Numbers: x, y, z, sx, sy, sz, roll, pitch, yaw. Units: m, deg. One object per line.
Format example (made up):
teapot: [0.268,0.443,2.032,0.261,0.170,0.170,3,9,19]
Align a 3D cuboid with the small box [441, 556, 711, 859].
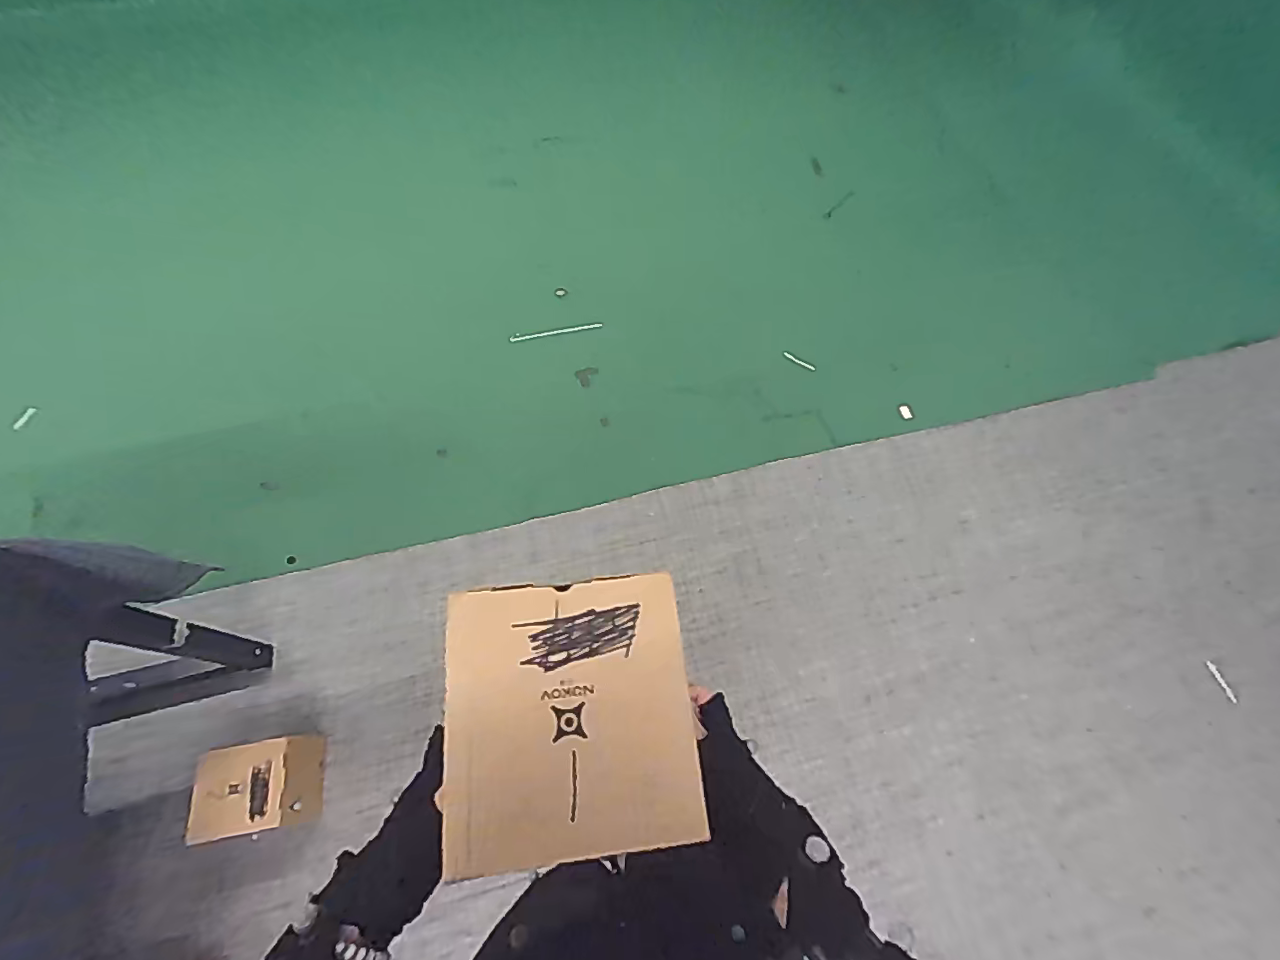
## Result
small box: [-0.052,0.173,0.432,0.168,0.176,0.179,-4,66,-7]
